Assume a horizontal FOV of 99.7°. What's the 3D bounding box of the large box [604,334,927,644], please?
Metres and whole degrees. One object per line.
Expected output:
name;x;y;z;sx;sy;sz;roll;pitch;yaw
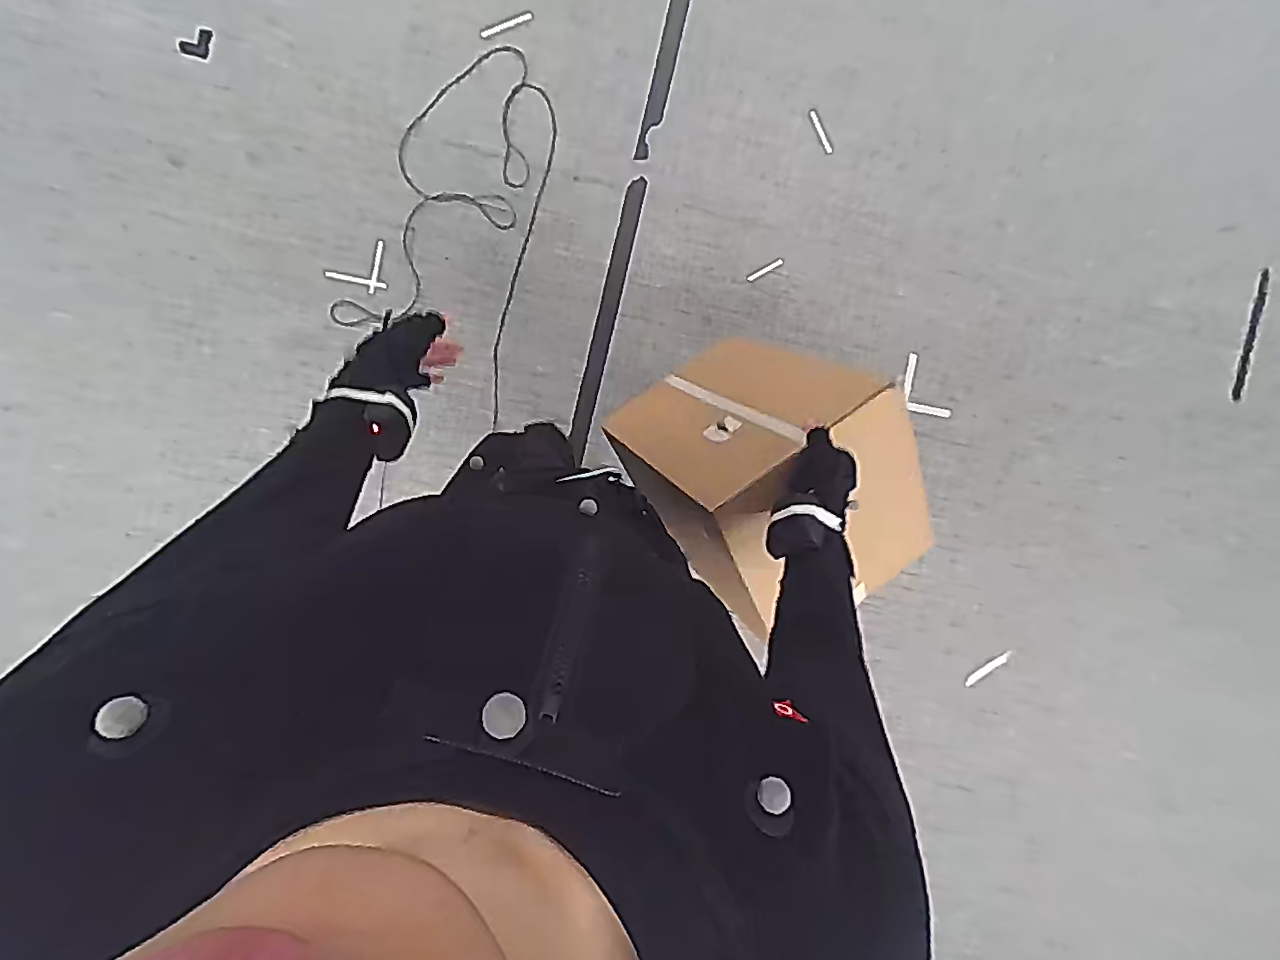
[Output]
large box;0.199;-0.011;0.925;0.320;0.408;0.320;-36;124;-8
